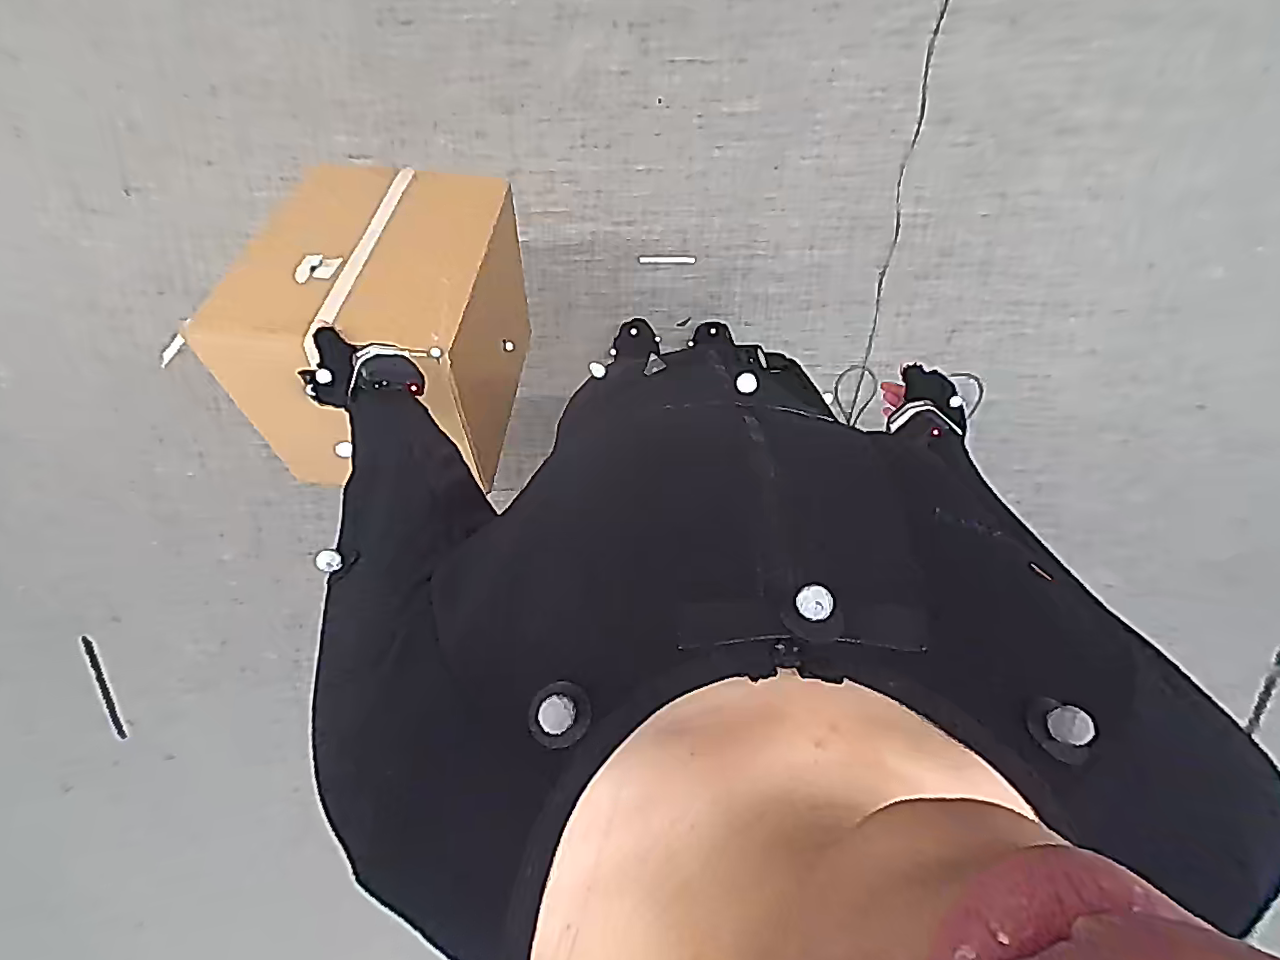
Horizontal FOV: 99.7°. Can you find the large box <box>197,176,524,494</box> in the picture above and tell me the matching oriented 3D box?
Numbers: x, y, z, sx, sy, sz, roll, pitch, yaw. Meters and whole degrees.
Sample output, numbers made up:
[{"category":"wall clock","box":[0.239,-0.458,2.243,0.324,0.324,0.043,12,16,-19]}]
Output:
[{"category":"large box","box":[-0.387,-0.233,0.888,0.320,0.408,0.320,4,146,0]}]
